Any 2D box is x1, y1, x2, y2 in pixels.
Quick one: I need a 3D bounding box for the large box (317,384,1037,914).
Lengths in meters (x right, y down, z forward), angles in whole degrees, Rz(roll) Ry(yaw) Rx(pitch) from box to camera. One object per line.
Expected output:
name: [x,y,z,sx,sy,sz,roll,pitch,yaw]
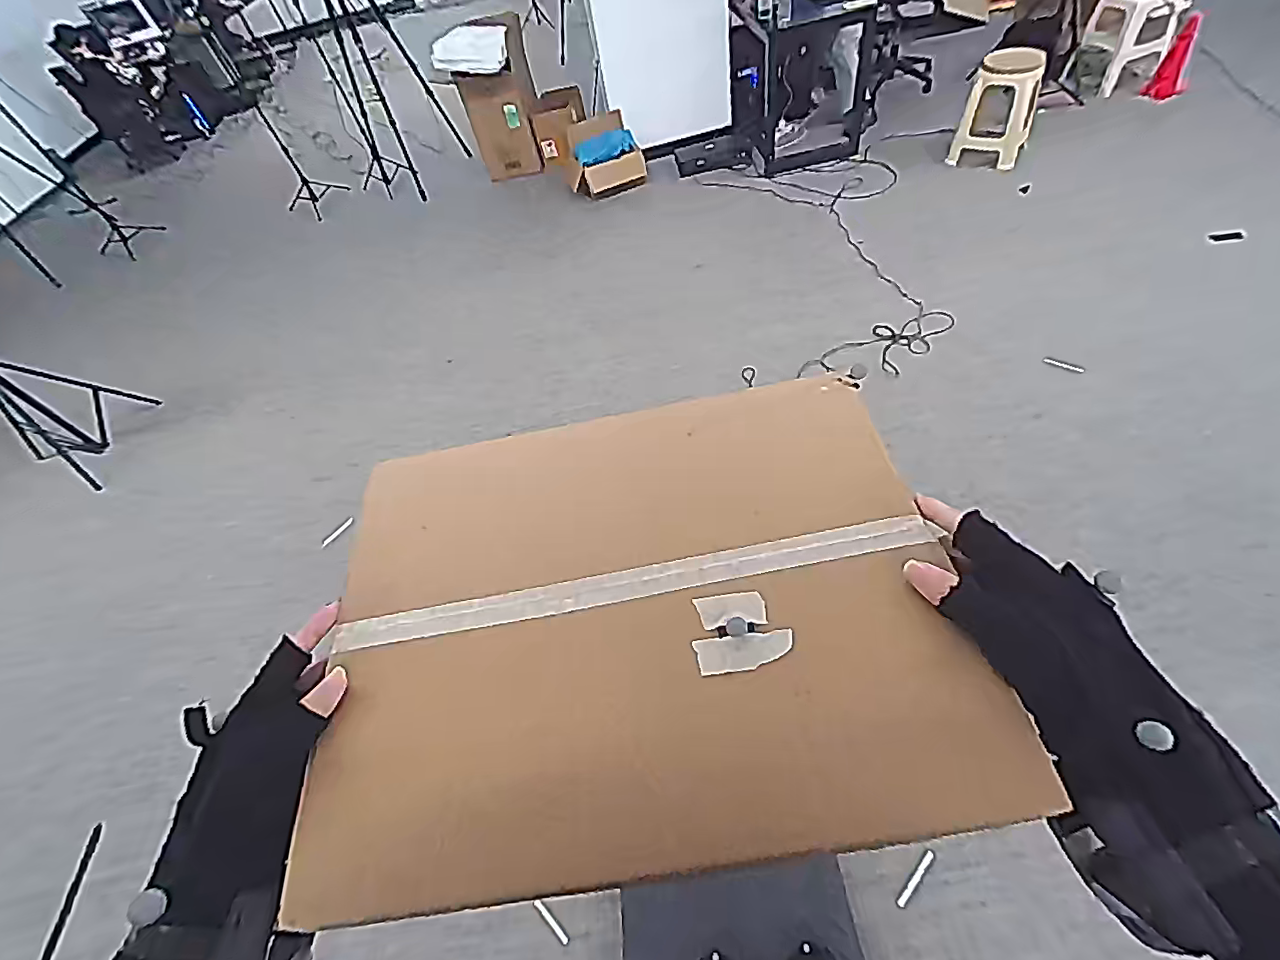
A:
large box: [0.016,0.163,0.495,0.408,0.320,0.320,-11,54,2]
